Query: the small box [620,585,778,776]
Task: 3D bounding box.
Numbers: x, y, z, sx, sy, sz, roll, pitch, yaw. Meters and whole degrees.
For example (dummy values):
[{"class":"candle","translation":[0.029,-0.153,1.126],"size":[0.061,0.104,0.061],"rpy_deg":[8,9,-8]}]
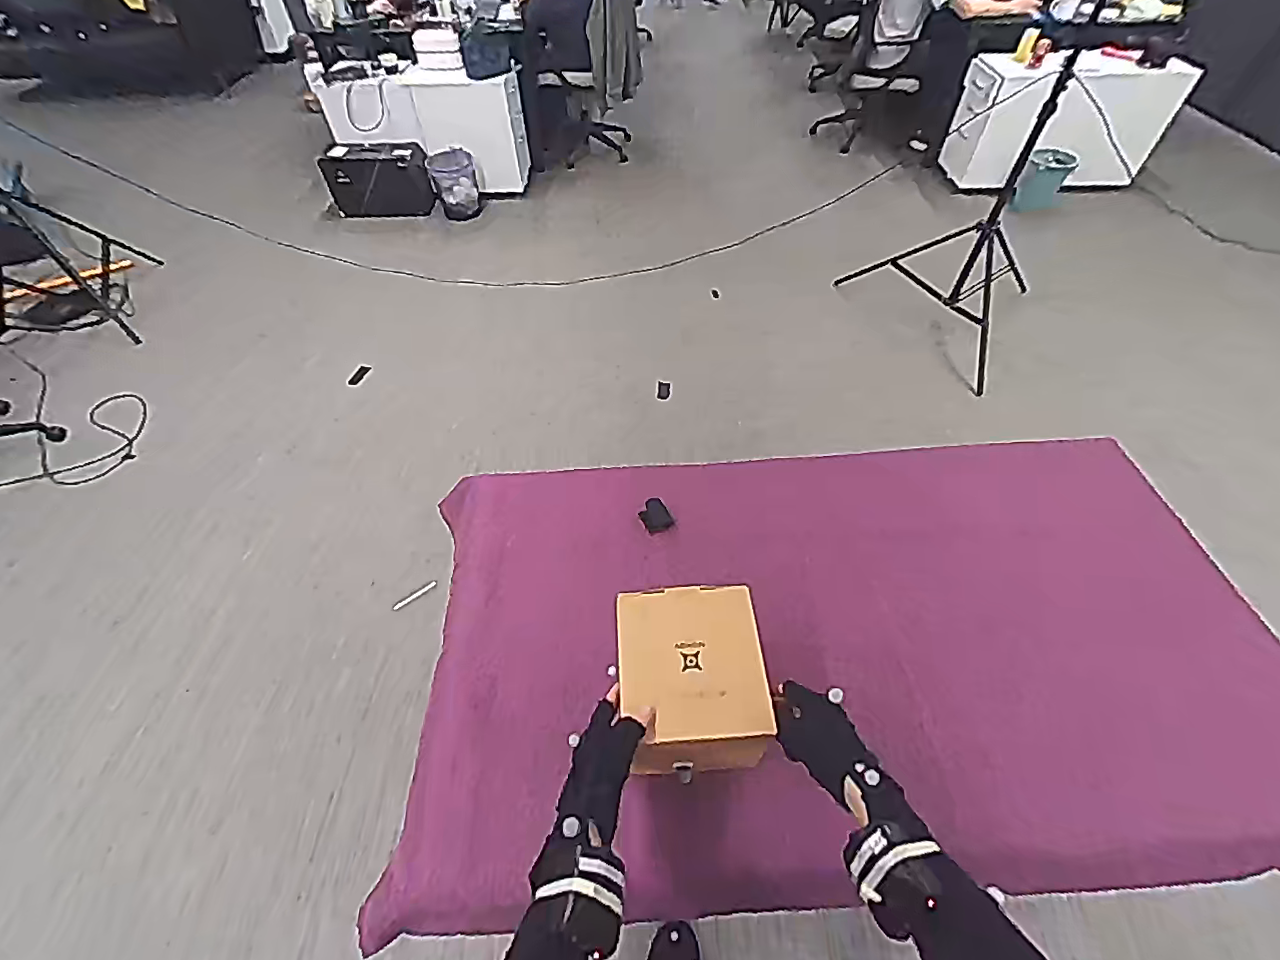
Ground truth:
[{"class":"small box","translation":[0.061,0.253,0.677],"size":[0.168,0.176,0.179],"rpy_deg":[-4,51,-1]}]
